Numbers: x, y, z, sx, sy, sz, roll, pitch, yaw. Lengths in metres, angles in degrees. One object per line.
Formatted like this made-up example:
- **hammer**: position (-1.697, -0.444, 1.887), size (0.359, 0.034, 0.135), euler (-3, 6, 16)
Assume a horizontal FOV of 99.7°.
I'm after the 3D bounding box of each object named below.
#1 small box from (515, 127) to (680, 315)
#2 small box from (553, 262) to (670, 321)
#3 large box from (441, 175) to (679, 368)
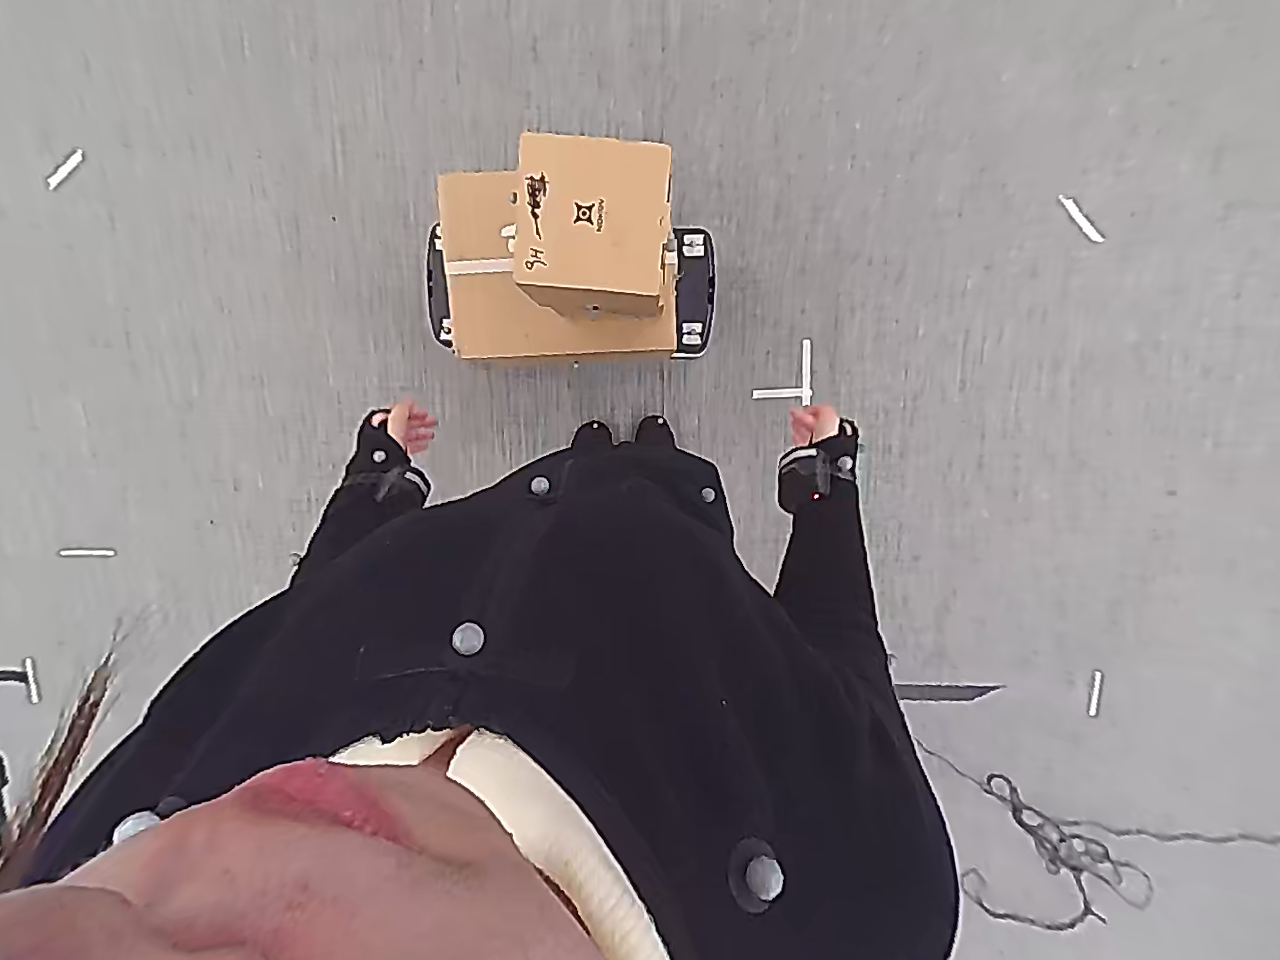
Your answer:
- **small box**: position (-0.051, -0.313, 0.690), size (0.179, 0.176, 0.168), euler (5, 98, -2)
- **small box**: position (-0.043, -0.348, 0.850), size (0.179, 0.176, 0.168), euler (1, 99, 1)
- **large box**: position (-0.133, -0.397, 1.091), size (0.408, 0.320, 0.320), euler (-2, 98, 2)
